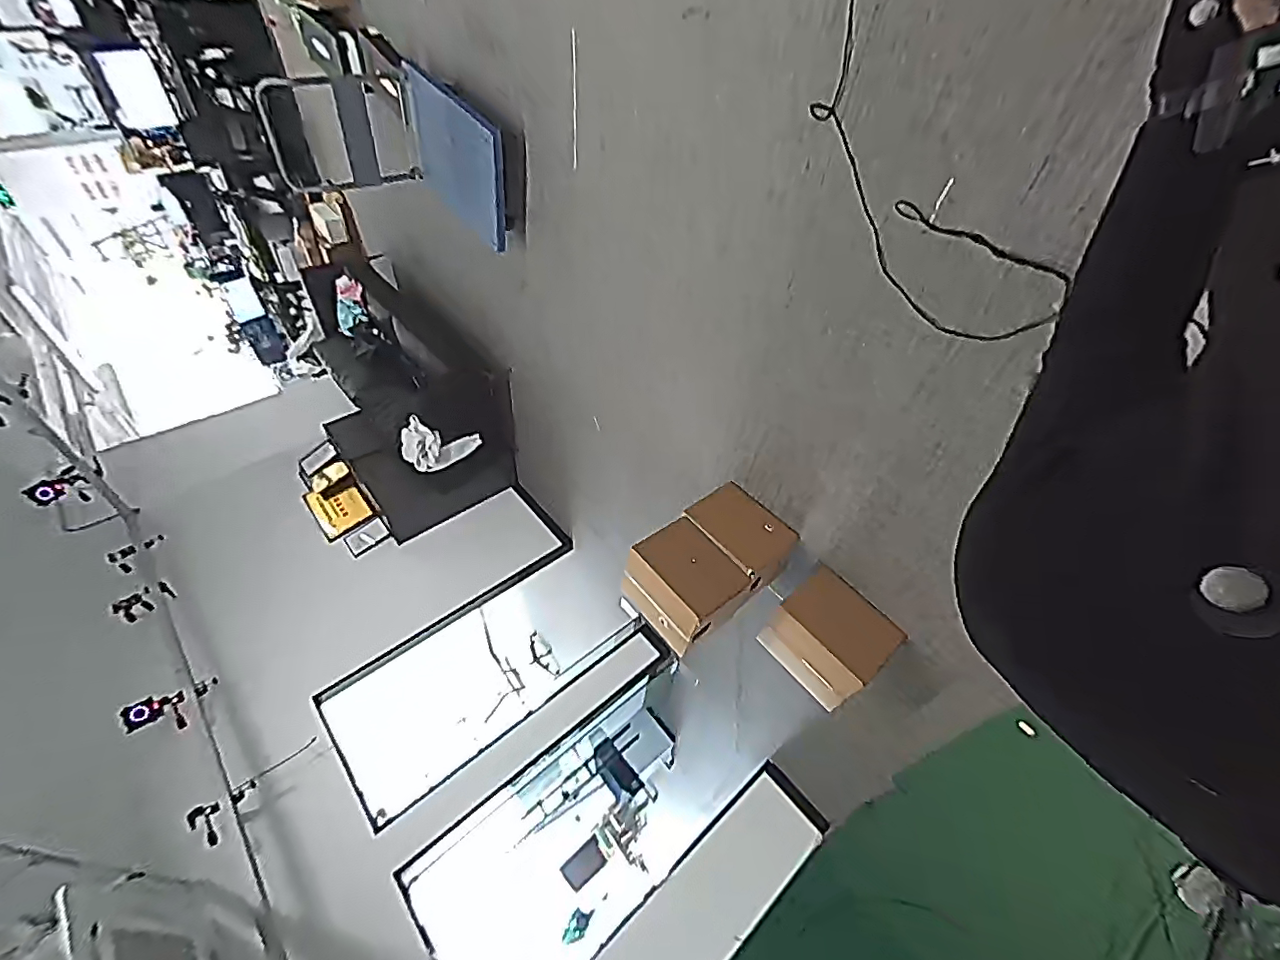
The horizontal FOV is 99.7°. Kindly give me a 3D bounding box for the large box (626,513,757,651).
[{"bbox_3d":[0.203,0.412,2.249,0.408,0.320,0.320,43,143,27],"label":"large box"}]
